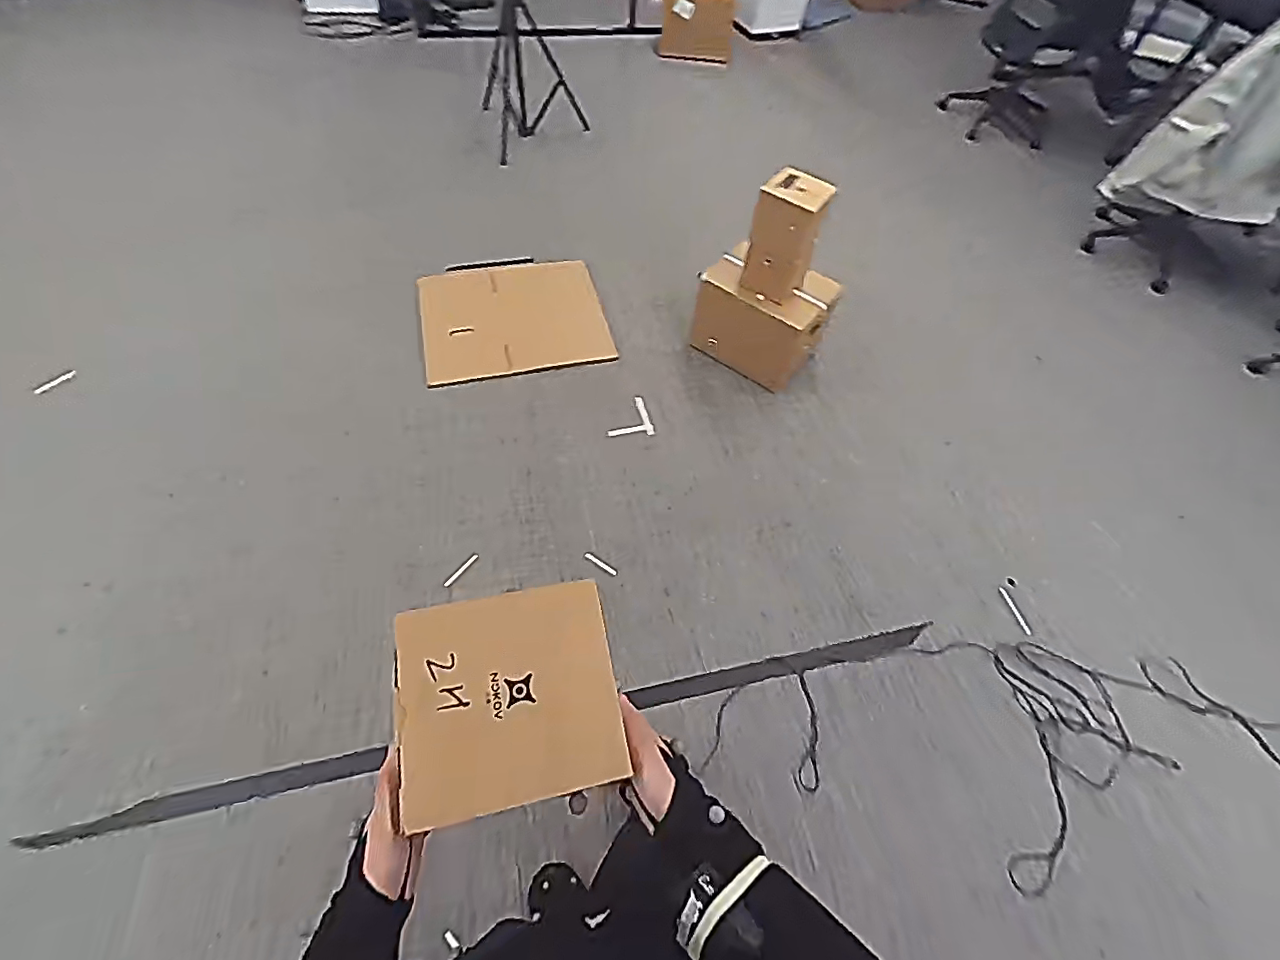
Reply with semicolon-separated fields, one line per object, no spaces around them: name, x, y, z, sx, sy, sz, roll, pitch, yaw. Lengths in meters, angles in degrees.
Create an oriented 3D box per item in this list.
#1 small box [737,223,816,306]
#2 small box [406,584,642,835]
small box;0.445;-0.711;1.791;0.179;0.176;0.168;32;61;15
small box;-0.109;0.210;0.510;0.179;0.176;0.168;-7;64;-12
